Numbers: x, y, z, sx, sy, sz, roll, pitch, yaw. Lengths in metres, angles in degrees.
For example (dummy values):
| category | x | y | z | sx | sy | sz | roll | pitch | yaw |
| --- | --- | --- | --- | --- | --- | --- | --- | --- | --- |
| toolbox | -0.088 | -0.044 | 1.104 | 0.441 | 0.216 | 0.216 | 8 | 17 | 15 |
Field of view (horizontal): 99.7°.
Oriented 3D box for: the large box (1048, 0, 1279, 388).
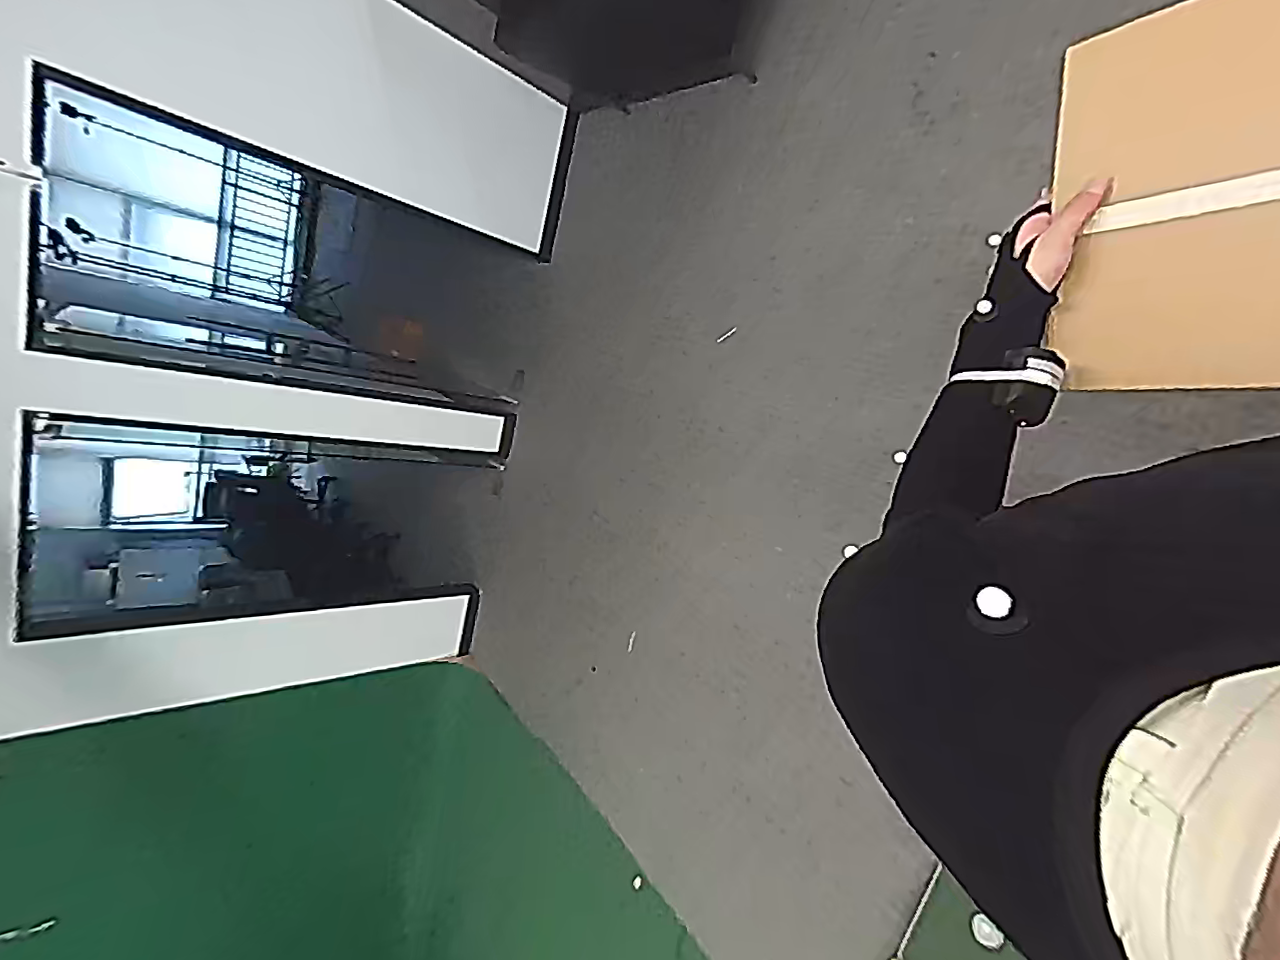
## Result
| category | x | y | z | sx | sy | sz | roll | pitch | yaw |
| --- | --- | --- | --- | --- | --- | --- | --- | --- | --- |
| large box | 0.649 | -0.254 | 0.482 | 0.408 | 0.320 | 0.320 | 7 | 105 | 48 |
